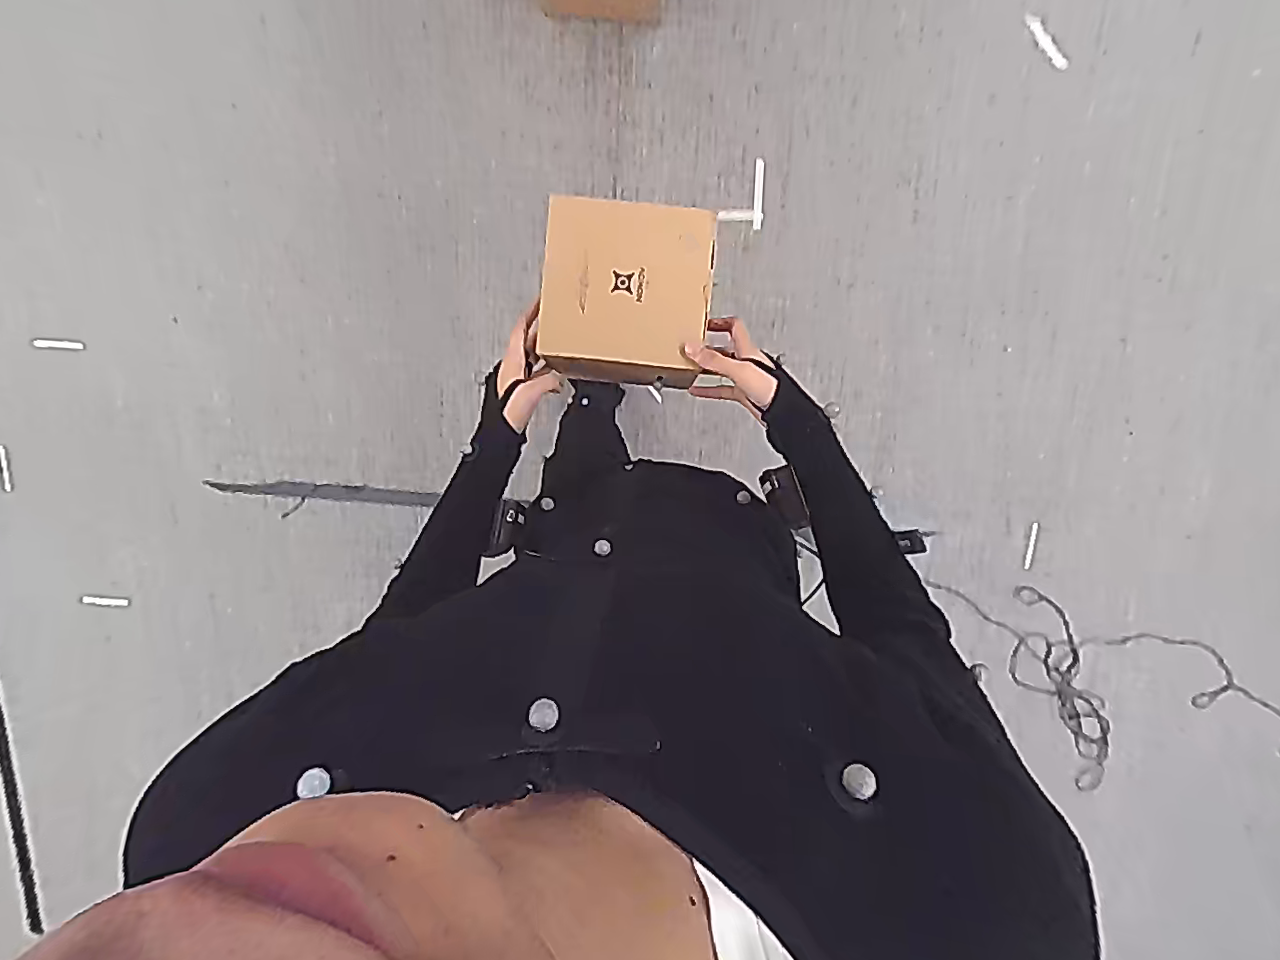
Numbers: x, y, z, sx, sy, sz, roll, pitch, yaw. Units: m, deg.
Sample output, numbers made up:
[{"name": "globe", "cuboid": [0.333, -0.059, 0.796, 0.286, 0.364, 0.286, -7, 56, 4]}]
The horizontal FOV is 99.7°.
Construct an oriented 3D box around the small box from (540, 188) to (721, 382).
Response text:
[{"name": "small box", "cuboid": [-0.011, -0.212, 0.633, 0.179, 0.176, 0.168, 5, 91, 0]}]
